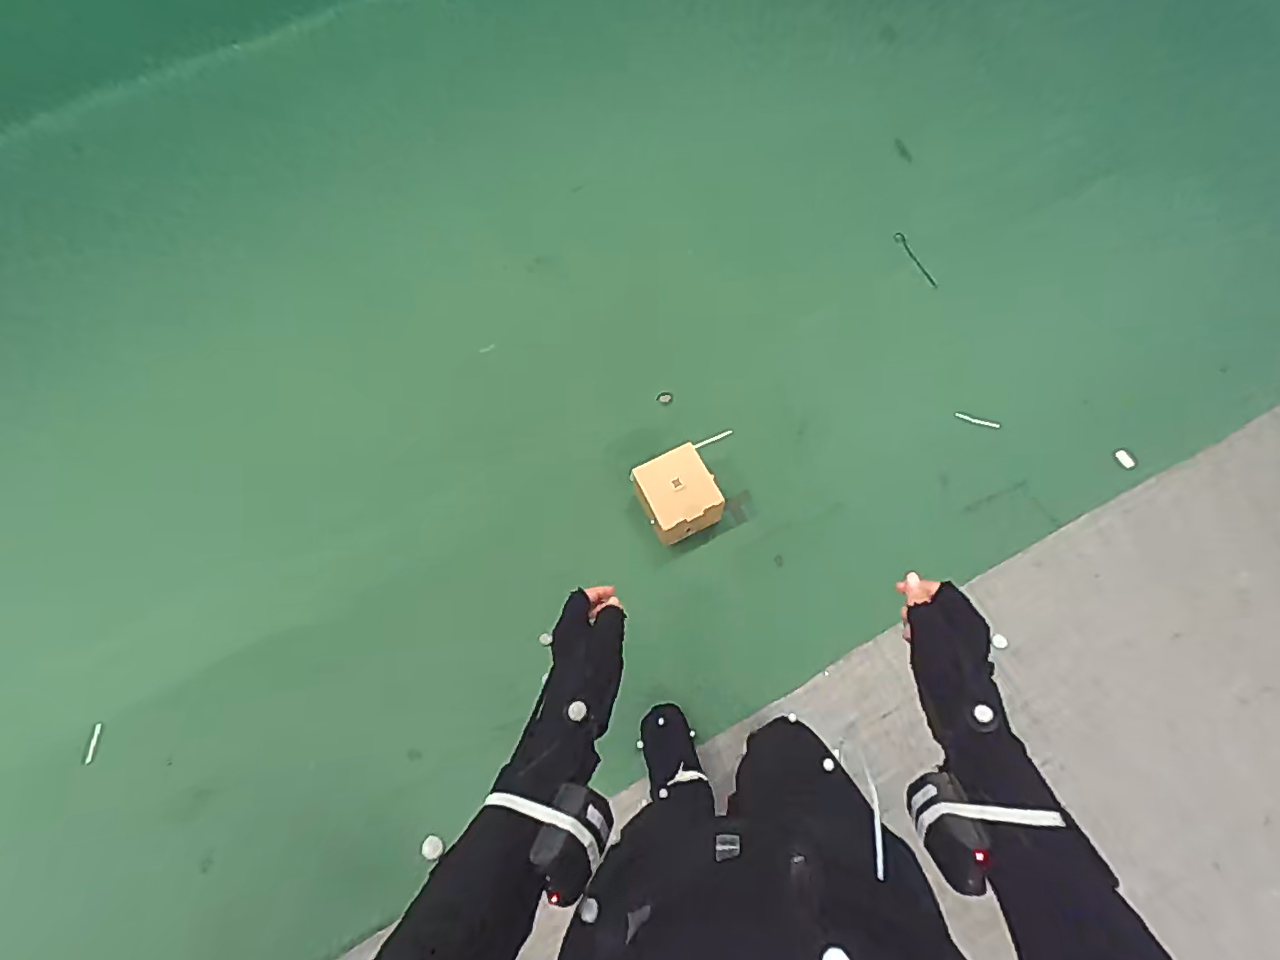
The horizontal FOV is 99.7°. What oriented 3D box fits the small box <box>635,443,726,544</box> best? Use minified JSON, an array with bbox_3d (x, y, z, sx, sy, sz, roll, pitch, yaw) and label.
[{"bbox_3d":[0.099,0.040,1.378,0.168,0.176,0.179,-26,71,-6],"label":"small box"}]
